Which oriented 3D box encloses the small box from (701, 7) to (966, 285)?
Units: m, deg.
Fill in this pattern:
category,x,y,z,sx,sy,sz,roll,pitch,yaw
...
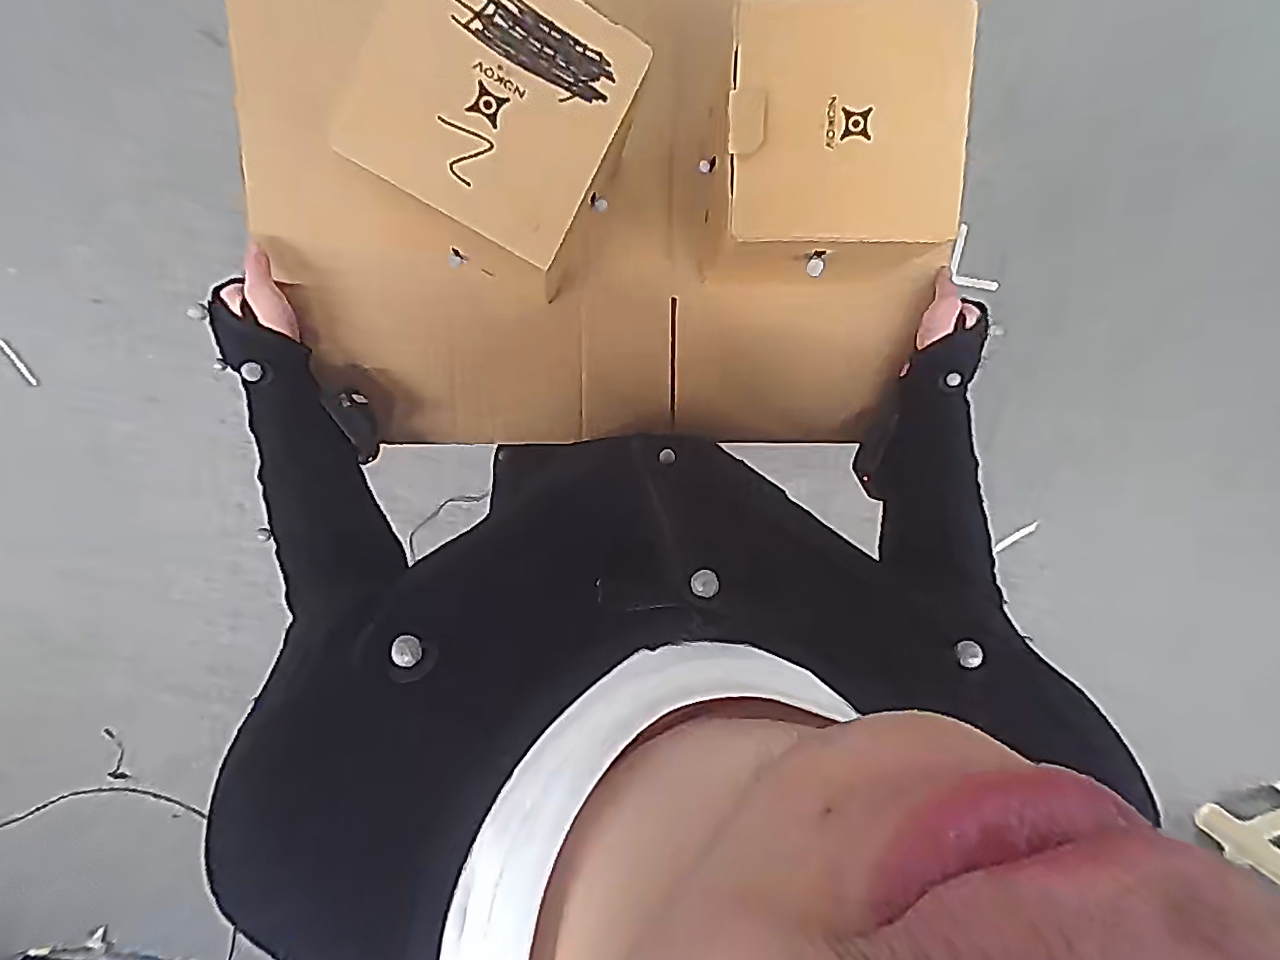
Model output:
category,x,y,z,sx,sy,sz,roll,pitch,yaw
small box,0.156,-0.281,0.493,0.179,0.176,0.168,0,98,0
